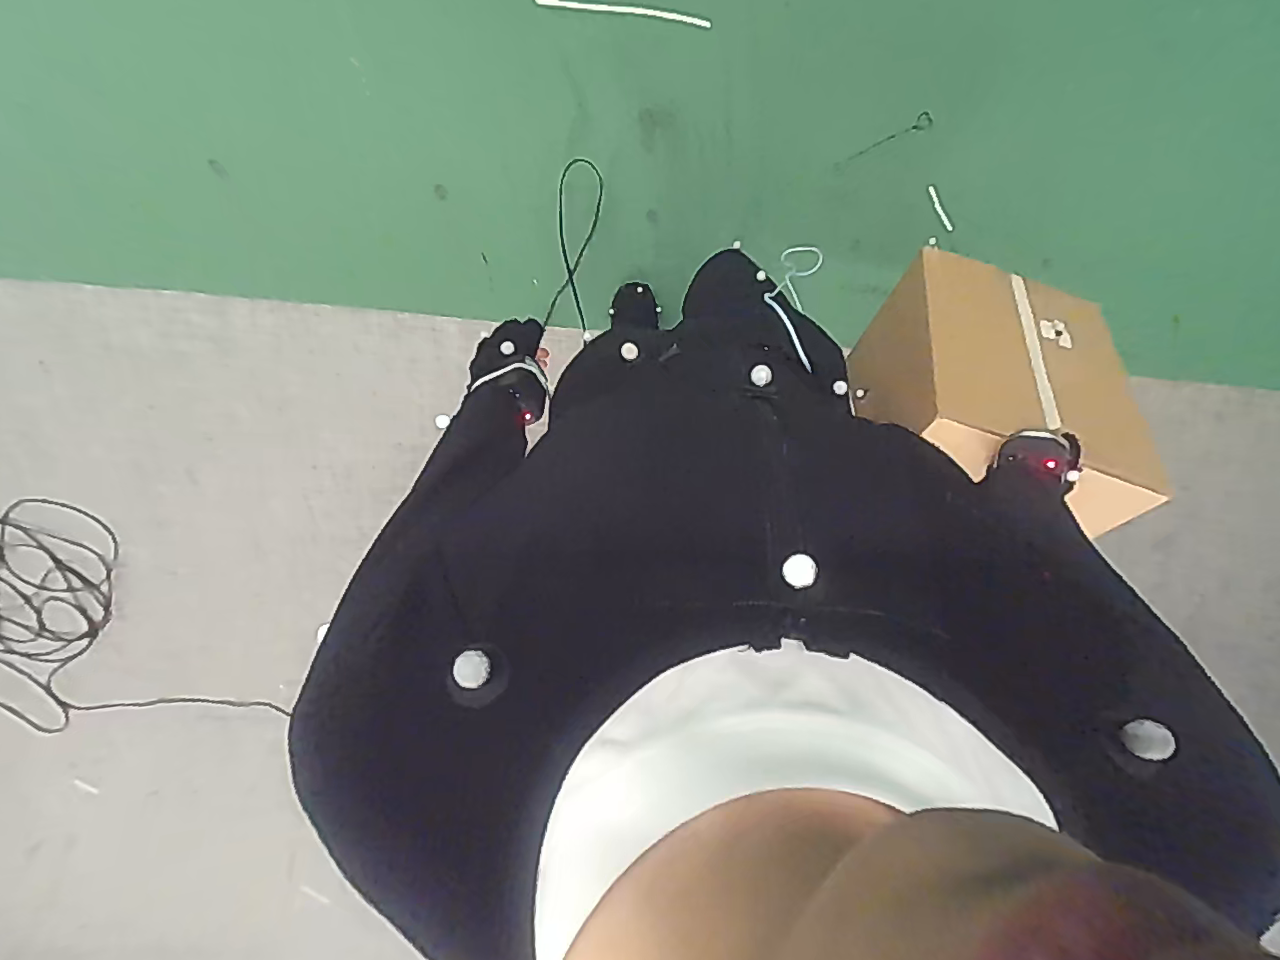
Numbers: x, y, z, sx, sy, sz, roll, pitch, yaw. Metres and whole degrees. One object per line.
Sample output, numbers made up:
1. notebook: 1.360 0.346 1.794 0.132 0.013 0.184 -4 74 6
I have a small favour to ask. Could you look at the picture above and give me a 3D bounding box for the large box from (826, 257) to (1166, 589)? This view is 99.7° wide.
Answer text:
1. large box: 0.530 -0.090 0.905 0.320 0.408 0.320 20 144 -1
